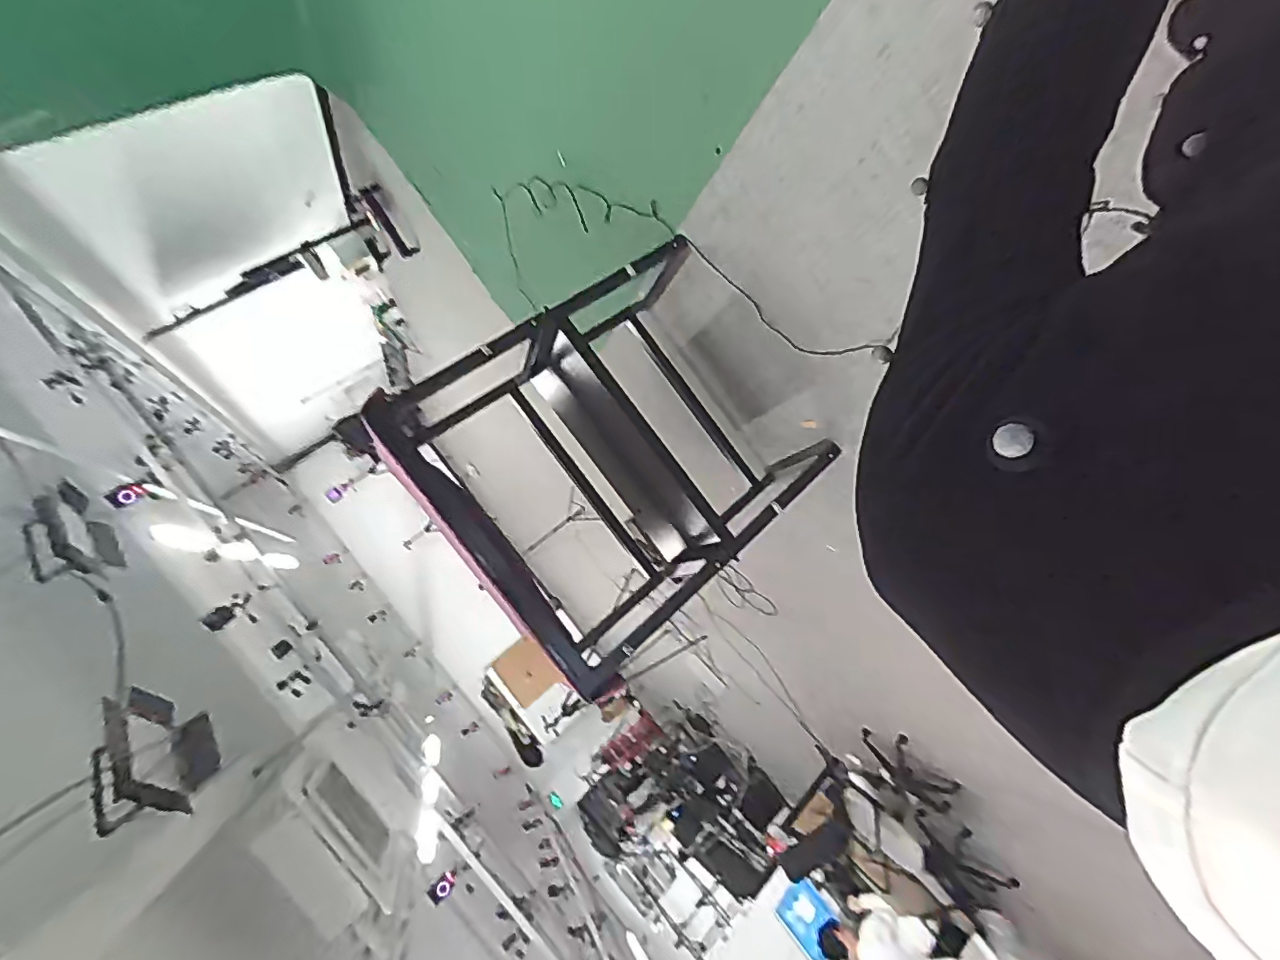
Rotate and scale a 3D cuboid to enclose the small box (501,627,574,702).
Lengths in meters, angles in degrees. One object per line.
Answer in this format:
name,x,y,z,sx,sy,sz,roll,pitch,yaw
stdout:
small box,-0.358,0.631,1.876,0.179,0.176,0.168,52,159,-1
